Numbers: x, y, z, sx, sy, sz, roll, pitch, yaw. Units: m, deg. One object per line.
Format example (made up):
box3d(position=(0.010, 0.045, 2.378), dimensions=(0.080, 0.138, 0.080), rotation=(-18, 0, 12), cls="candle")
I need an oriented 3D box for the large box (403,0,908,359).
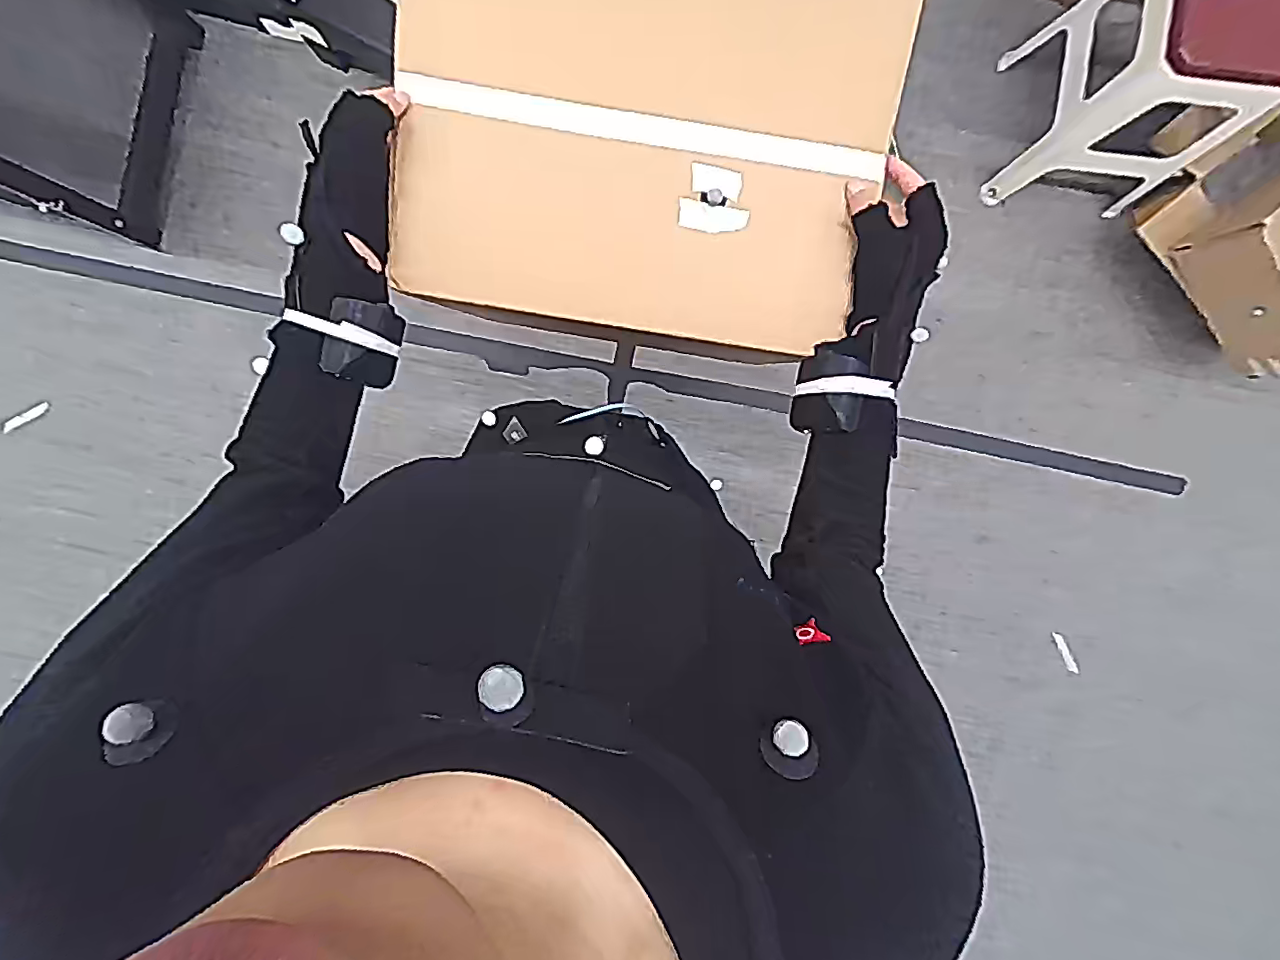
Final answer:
box3d(position=(0.001, -0.321, 0.607), dimensions=(0.408, 0.320, 0.320), rotation=(9, 102, -3), cls="large box")
